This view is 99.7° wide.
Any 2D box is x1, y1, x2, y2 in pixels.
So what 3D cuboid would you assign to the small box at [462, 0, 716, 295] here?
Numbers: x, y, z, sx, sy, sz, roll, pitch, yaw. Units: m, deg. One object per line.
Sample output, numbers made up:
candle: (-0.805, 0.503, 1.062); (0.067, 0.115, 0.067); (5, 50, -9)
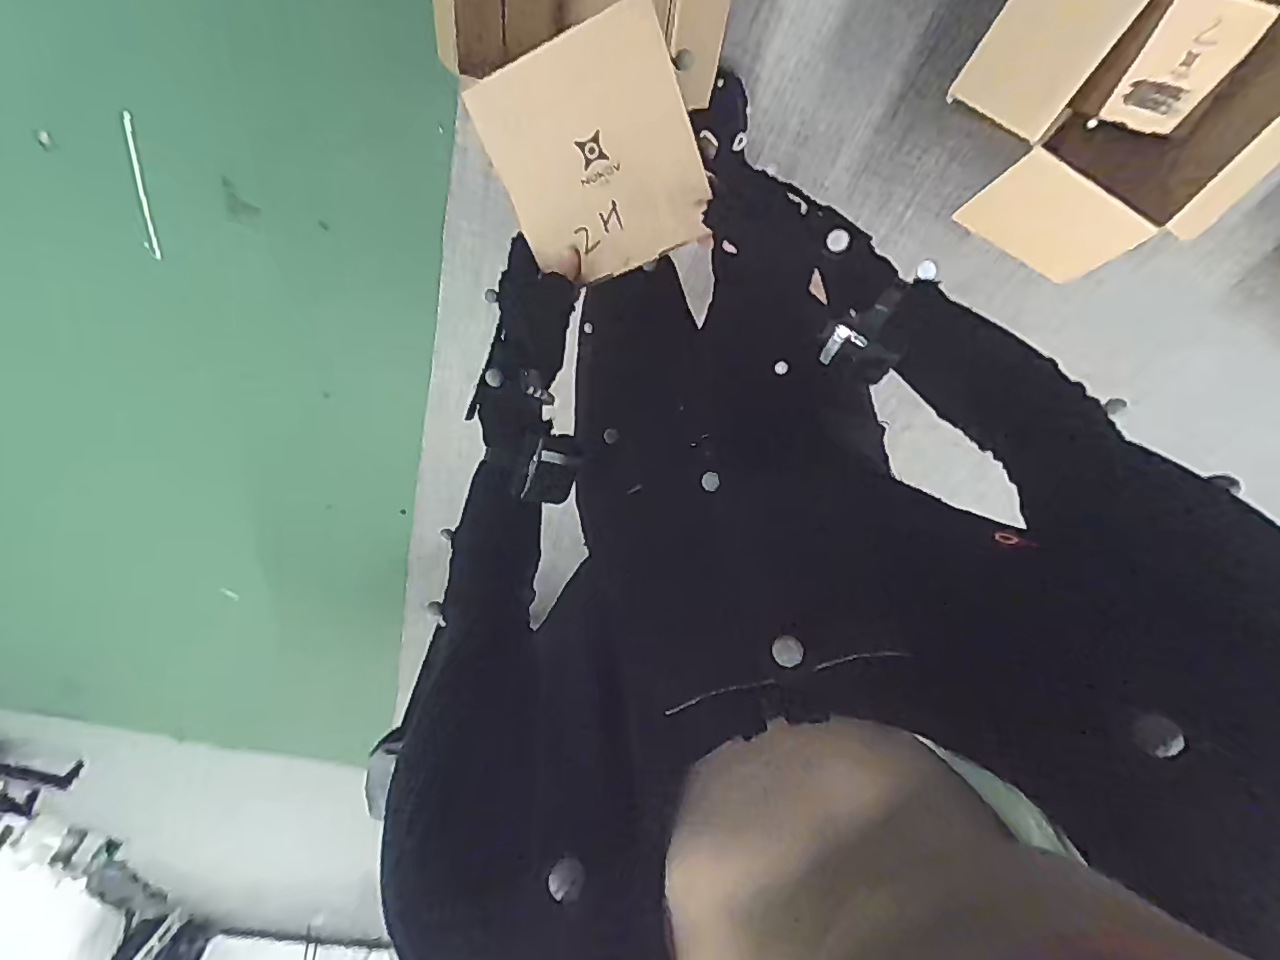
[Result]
small box: (-0.034, -0.303, 0.521); (0.168, 0.176, 0.179); (-18, 115, 16)
